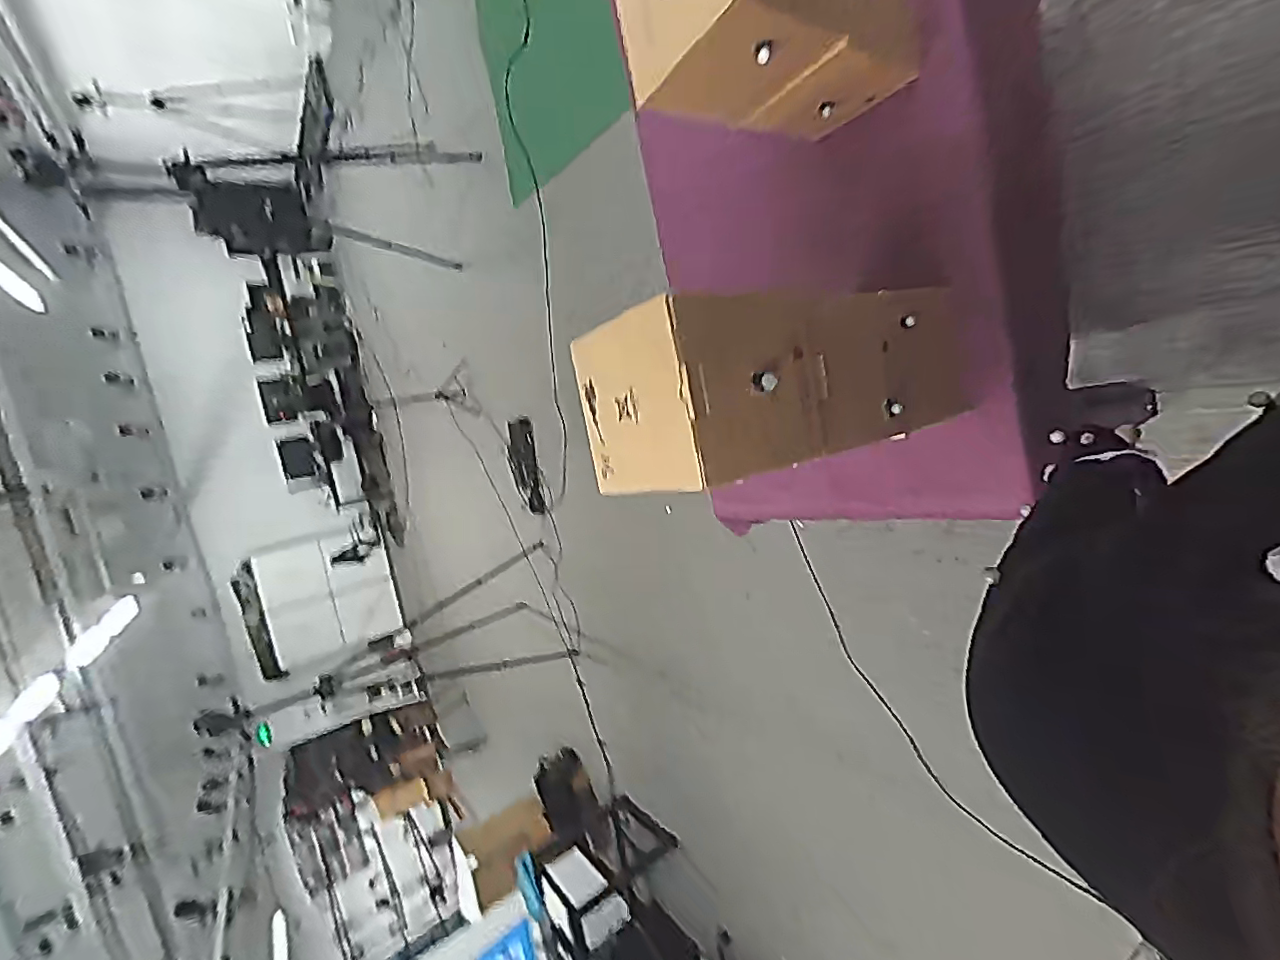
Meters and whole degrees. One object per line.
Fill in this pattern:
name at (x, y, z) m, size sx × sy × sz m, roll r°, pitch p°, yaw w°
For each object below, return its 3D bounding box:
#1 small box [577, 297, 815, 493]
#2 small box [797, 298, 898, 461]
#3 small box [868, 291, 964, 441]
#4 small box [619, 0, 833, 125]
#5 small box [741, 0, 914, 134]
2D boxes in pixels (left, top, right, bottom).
small box at (0.062, -0.085, 0.560) m, size 0.179 × 0.176 × 0.168 m, roll -4°, pitch 98°, yaw 55°
small box at (0.190, -0.116, 0.659) m, size 0.179 × 0.176 × 0.168 m, roll -5°, pitch 98°, yaw 57°
small box at (0.322, -0.151, 0.750) m, size 0.168 × 0.176 × 0.179 m, roll -5°, pitch 98°, yaw 55°
small box at (0.098, -0.543, 0.615) m, size 0.179 × 0.176 × 0.168 m, roll -5°, pitch 98°, yaw 56°
small box at (0.231, -0.580, 0.702) m, size 0.168 × 0.176 × 0.179 m, roll -2°, pitch 102°, yaw 54°
